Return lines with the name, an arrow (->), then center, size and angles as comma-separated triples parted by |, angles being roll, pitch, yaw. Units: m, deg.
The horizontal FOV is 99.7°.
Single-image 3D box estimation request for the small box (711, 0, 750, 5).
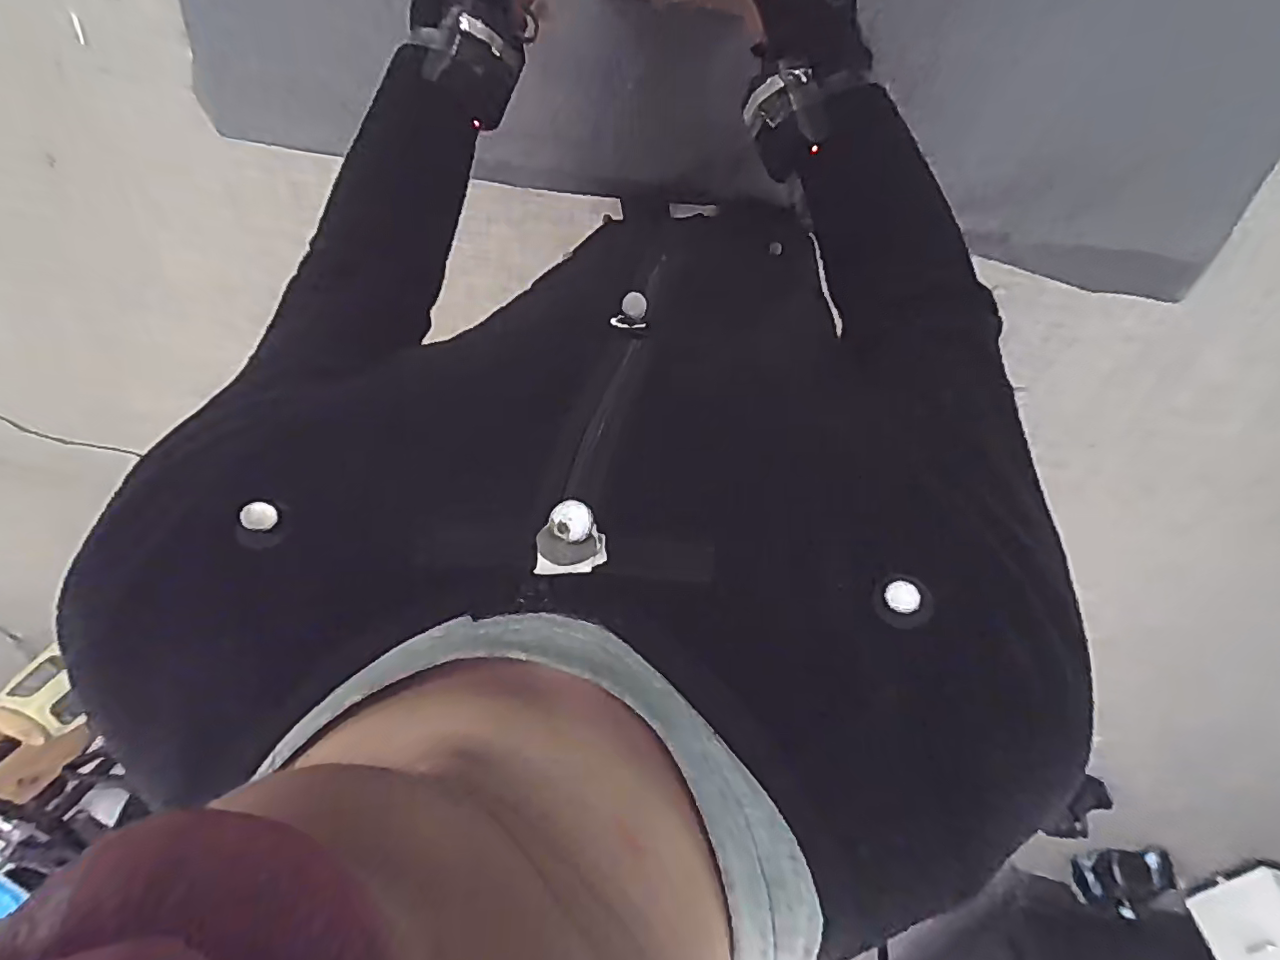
small box -> 0.035, -0.521, 0.441 | 0.168, 0.176, 0.179 | 13, 126, 3
